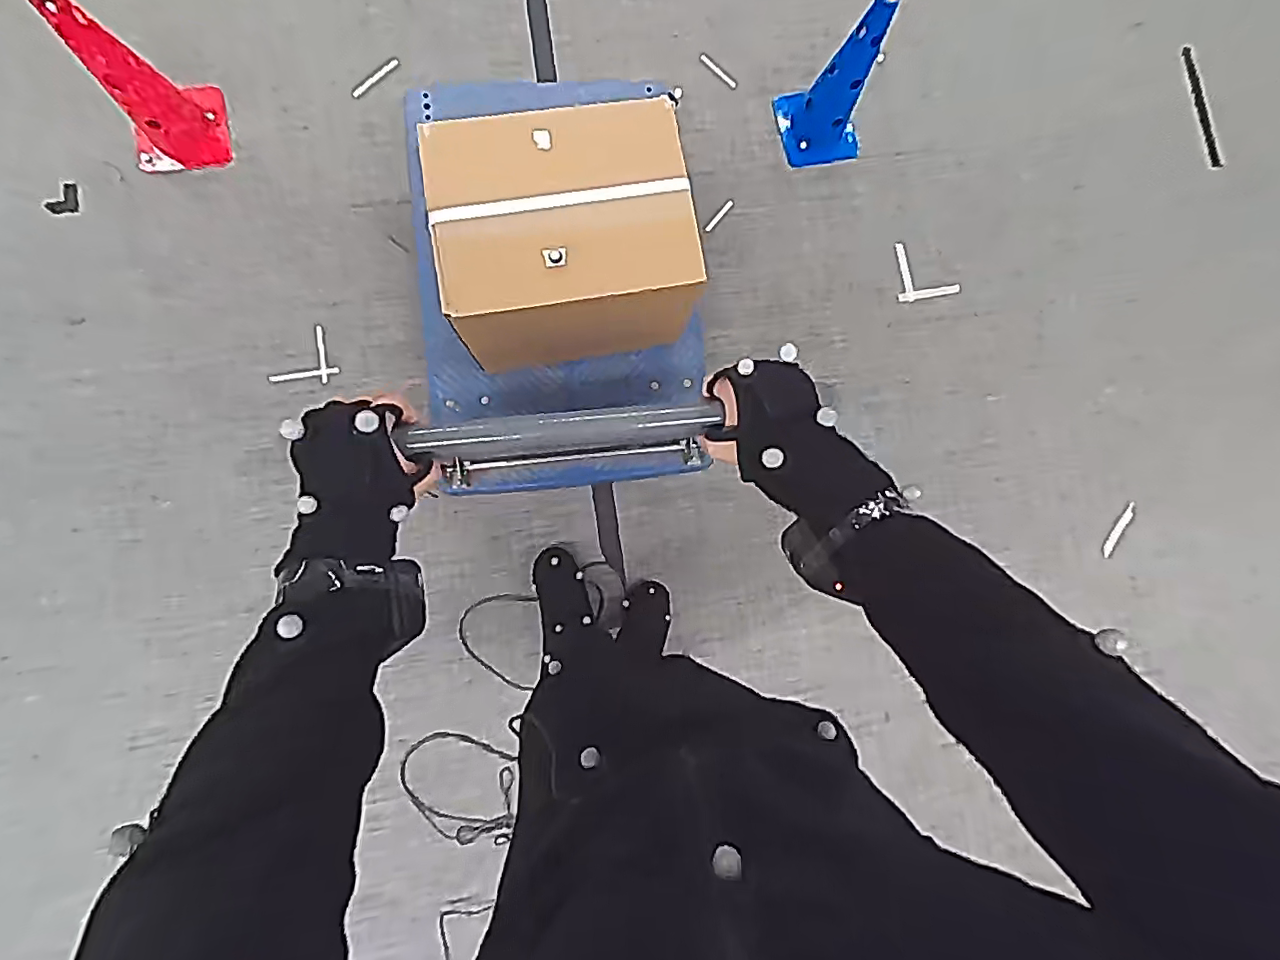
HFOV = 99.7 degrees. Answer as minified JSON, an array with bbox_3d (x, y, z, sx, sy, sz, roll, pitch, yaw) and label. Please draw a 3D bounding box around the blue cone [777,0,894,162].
[{"bbox_3d":[0.480,-0.943,1.252,0.193,0.380,0.192,-12,85,-7],"label":"blue cone"}]
